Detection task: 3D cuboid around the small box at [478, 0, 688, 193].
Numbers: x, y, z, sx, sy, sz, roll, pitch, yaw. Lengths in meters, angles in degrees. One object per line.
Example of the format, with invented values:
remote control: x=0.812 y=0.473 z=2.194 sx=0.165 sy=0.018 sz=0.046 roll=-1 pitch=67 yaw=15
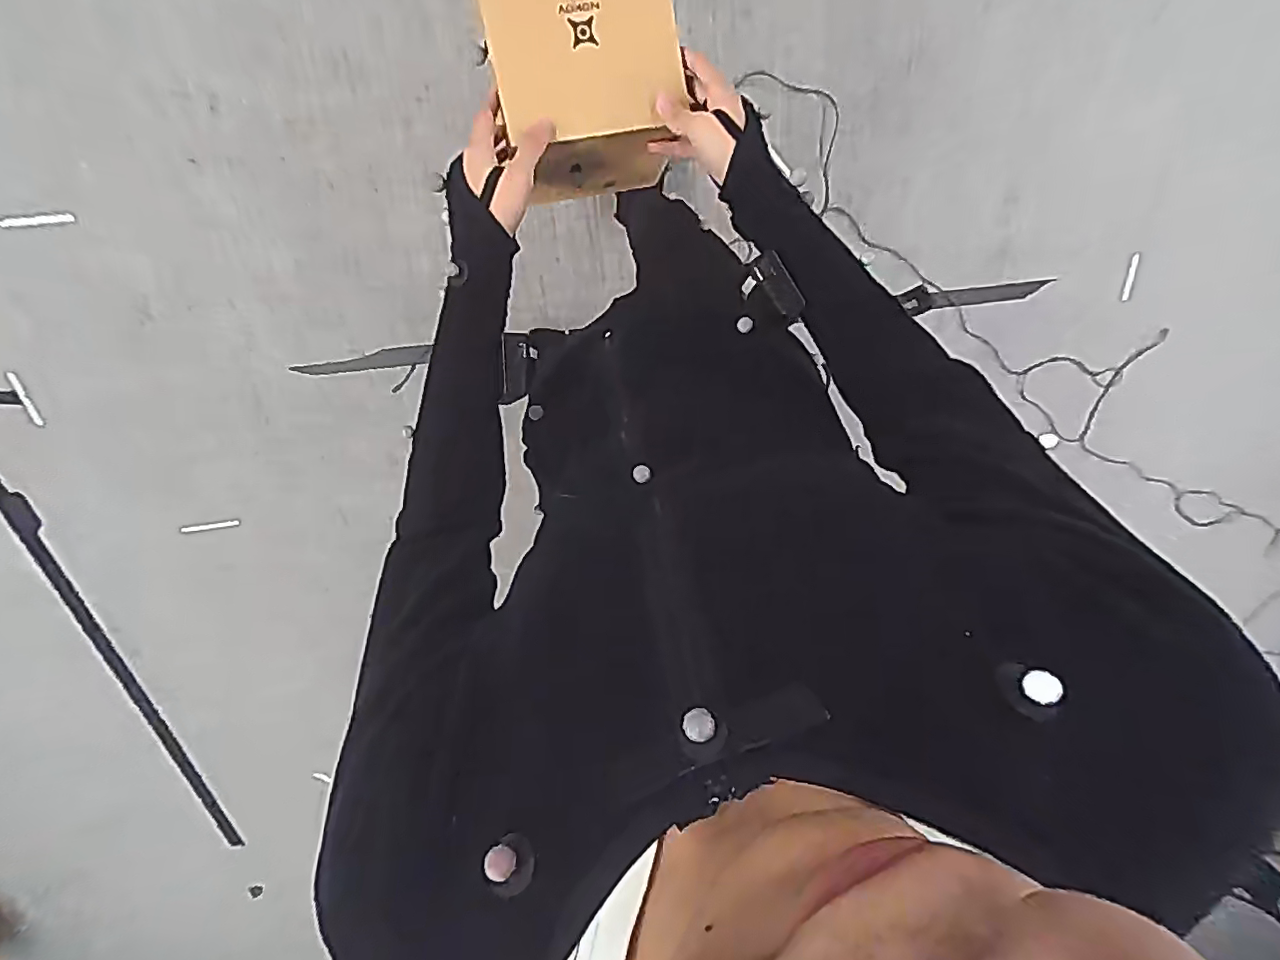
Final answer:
small box: x=-0.061 y=-0.406 z=0.536 sx=0.168 sy=0.176 sz=0.179 roll=-13 pitch=101 yaw=-7
